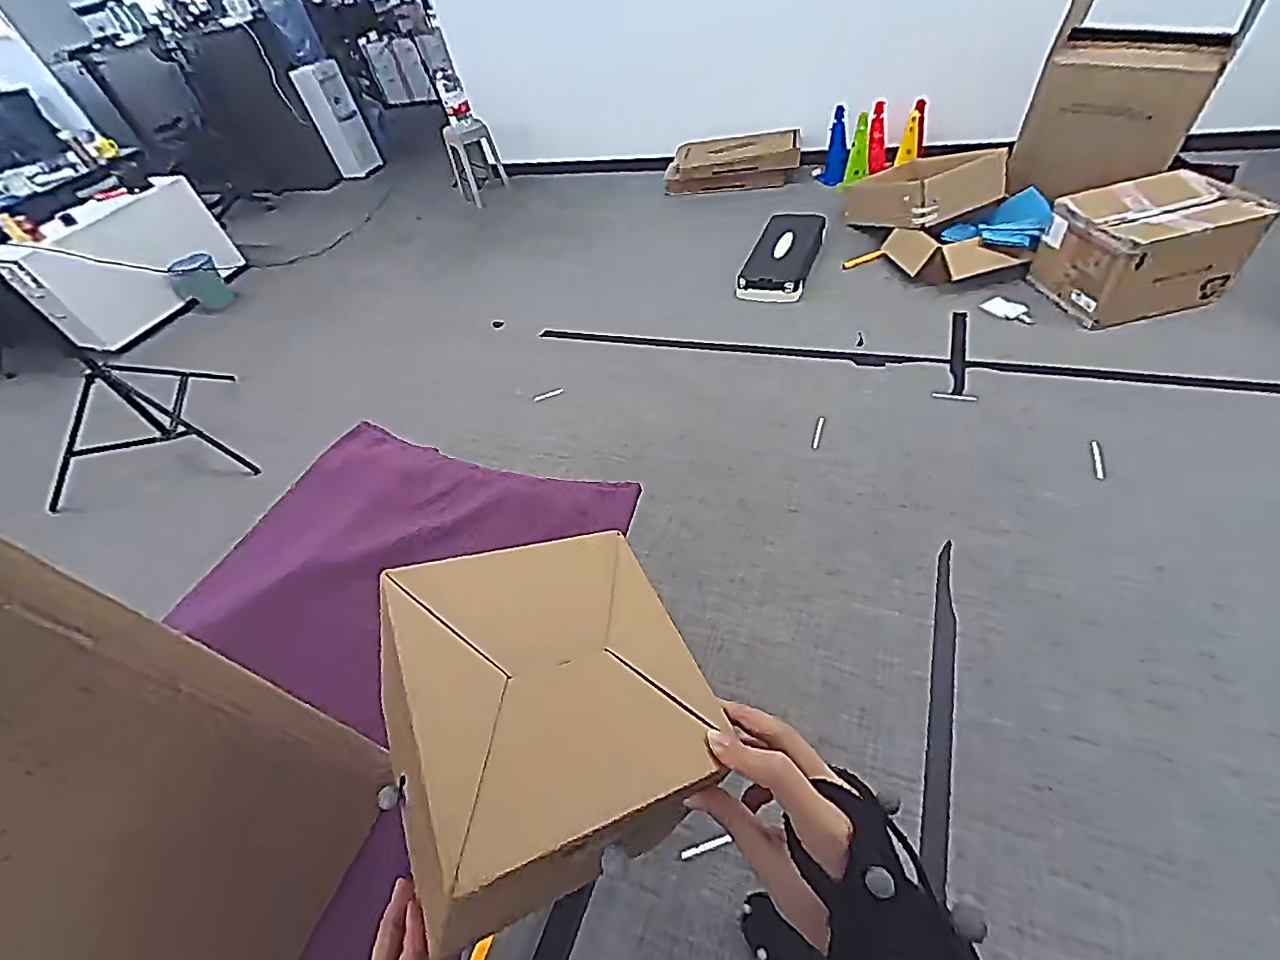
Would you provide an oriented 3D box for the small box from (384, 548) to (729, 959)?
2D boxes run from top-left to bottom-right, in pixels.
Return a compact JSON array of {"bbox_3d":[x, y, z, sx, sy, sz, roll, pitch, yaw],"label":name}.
[{"bbox_3d":[-0.068,0.169,0.364,0.168,0.176,0.179,-7,46,-31],"label":"small box"}]
